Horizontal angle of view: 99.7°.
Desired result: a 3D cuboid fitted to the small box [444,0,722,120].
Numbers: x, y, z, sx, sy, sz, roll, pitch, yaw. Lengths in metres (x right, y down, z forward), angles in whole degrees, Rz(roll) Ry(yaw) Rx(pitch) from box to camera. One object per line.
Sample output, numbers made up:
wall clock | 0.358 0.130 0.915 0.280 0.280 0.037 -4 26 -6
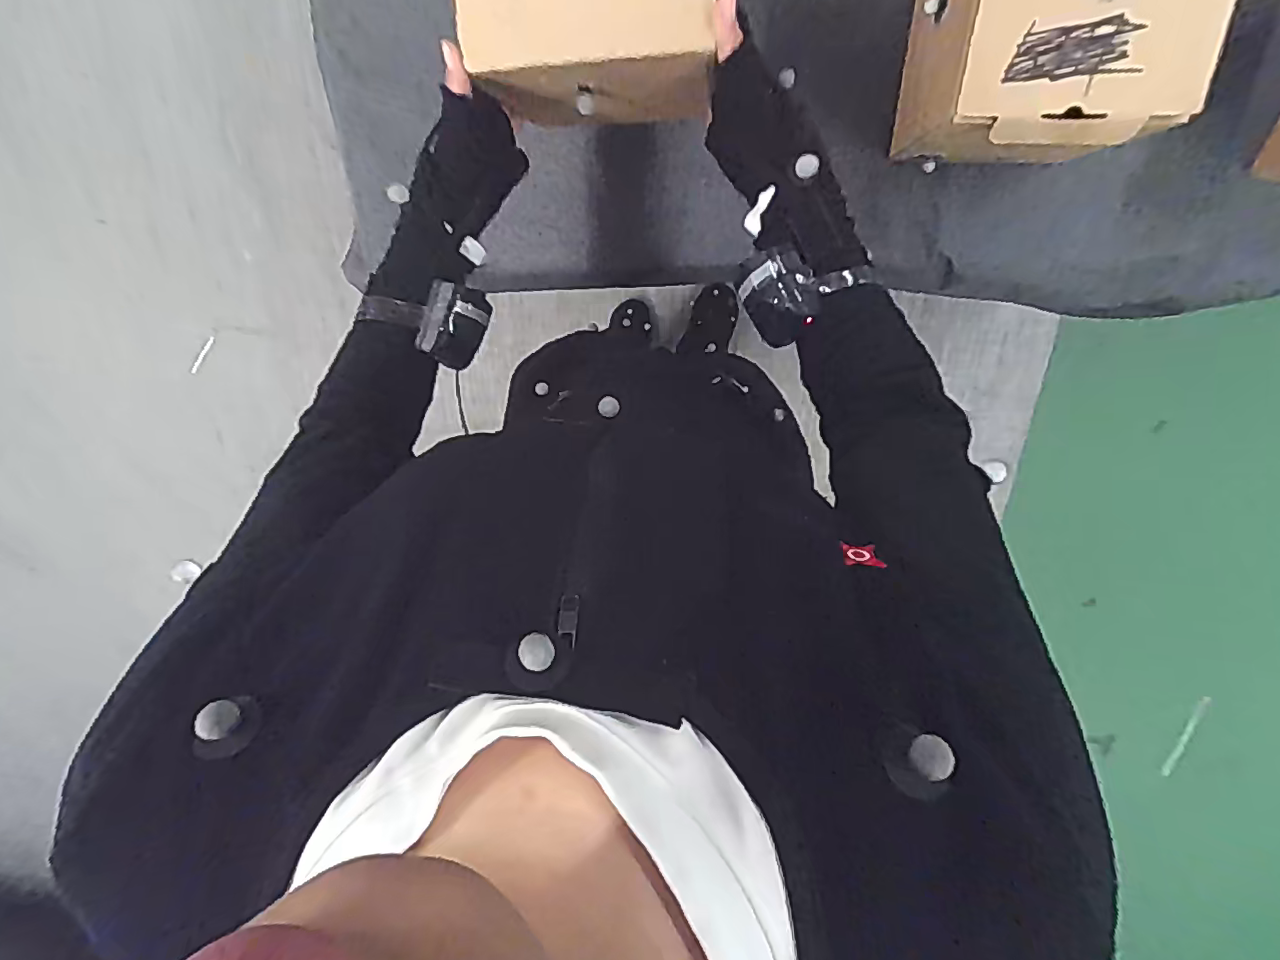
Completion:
small box | -0.031 -0.383 0.396 0.179 0.176 0.168 2 111 9

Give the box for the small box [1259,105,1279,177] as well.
small box | 0.666 -0.323 0.415 0.168 0.176 0.179 15 112 1

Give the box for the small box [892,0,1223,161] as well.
small box | 0.323 -0.373 0.442 0.168 0.176 0.179 4 111 6
